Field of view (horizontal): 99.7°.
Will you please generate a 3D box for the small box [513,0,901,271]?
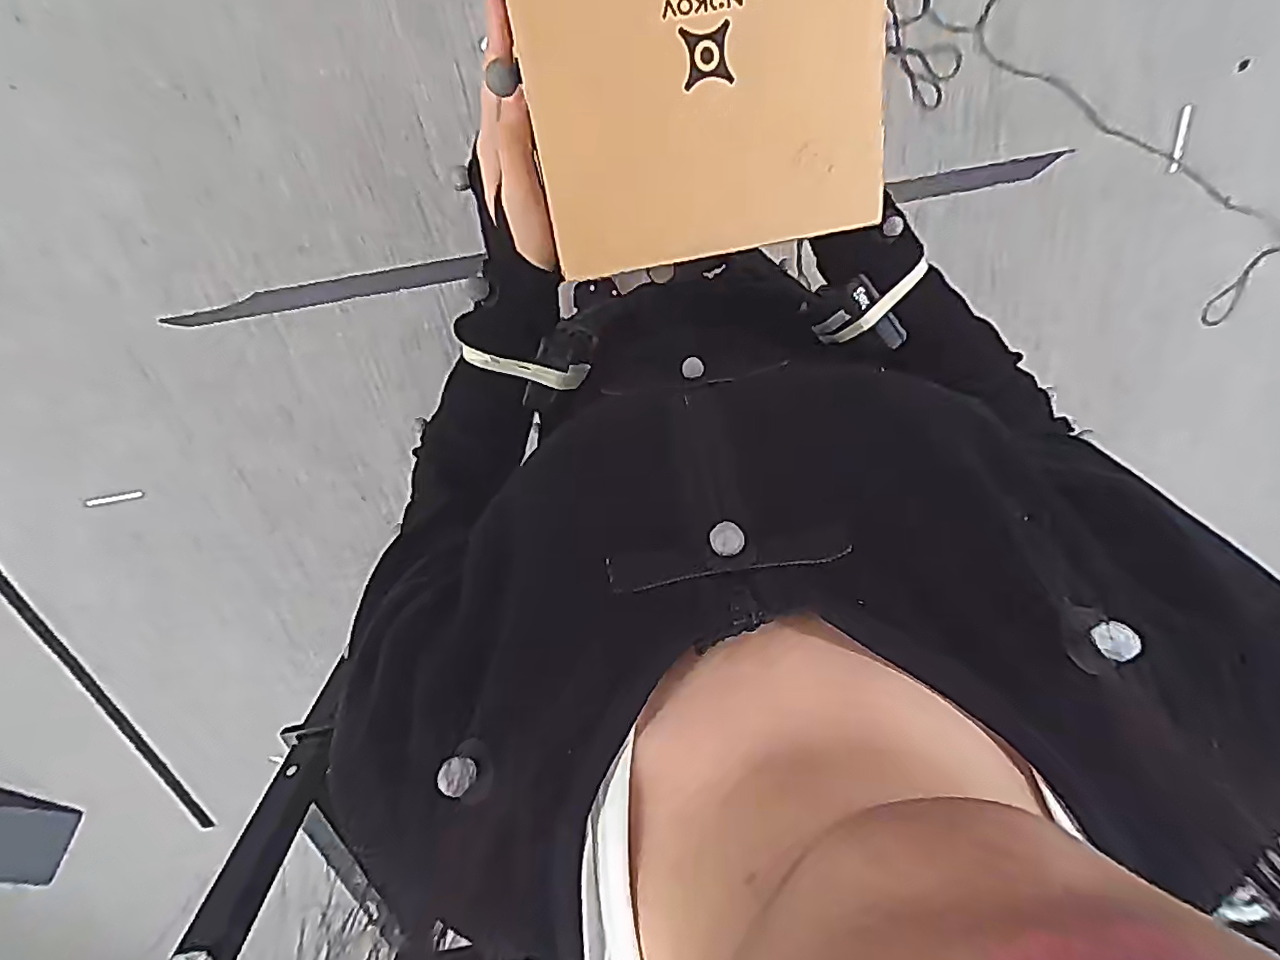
[{"bbox_3d":[0.022,-0.227,0.303,0.168,0.176,0.179,-12,114,-3],"label":"small box"}]
